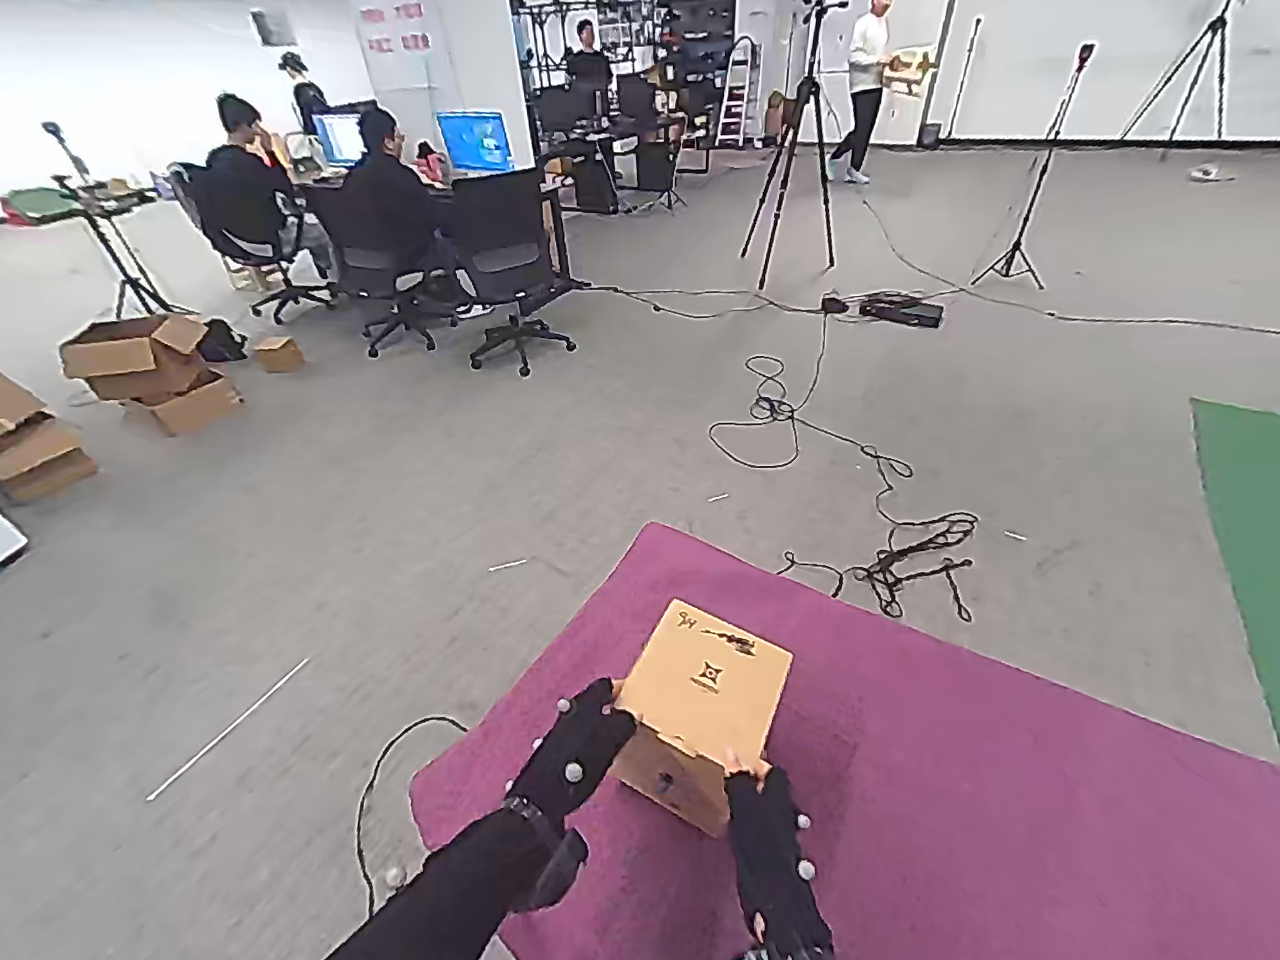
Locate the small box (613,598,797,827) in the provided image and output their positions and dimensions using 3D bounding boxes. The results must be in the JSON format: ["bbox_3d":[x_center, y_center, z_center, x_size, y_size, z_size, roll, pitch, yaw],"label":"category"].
[{"bbox_3d":[0.077,0.291,0.678,0.168,0.176,0.179,22,43,17],"label":"small box"}]
